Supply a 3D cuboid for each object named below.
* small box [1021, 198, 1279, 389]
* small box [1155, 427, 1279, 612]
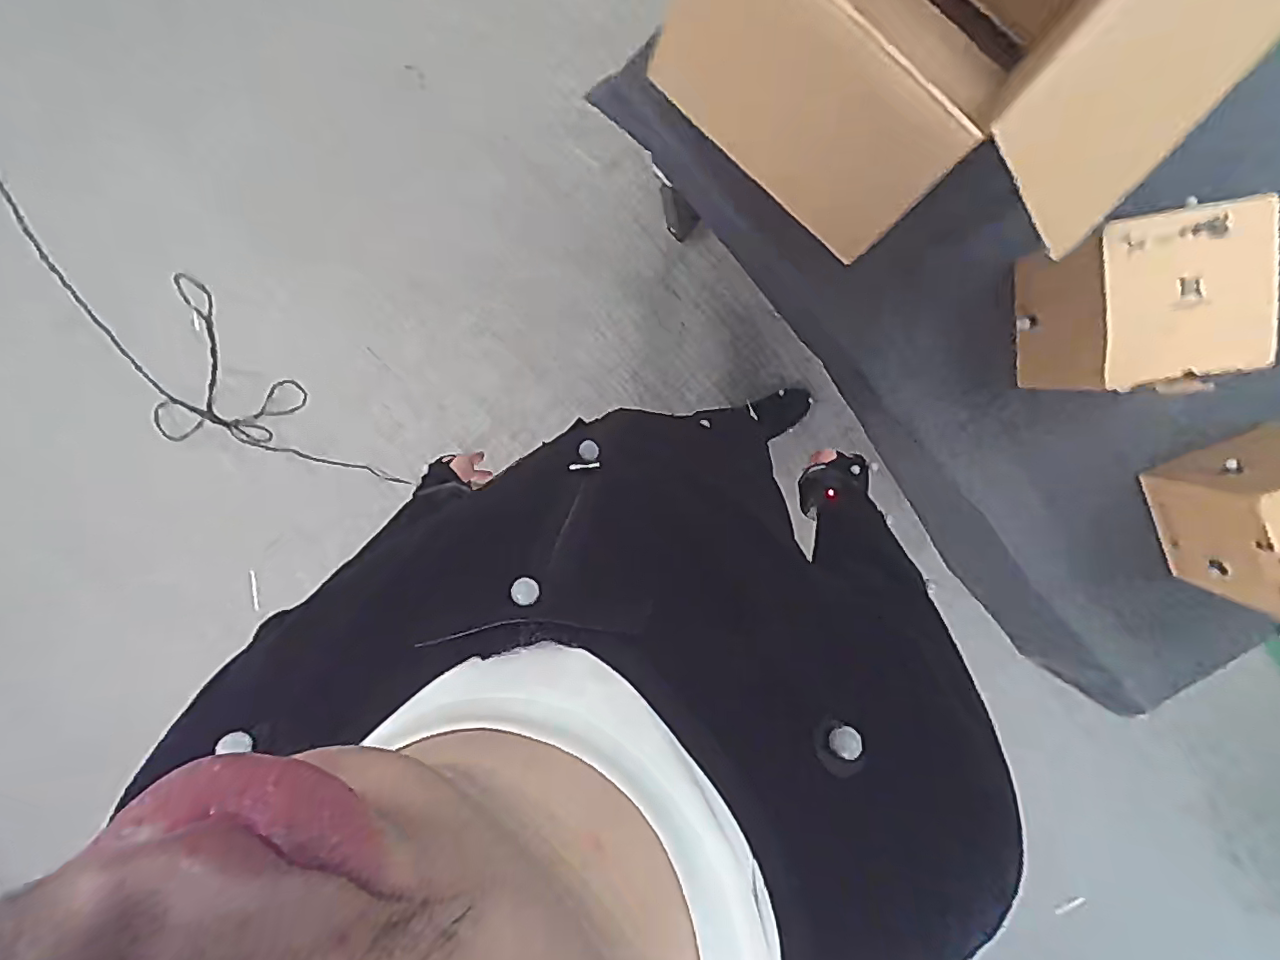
[{"bbox_3d":[0.591,-0.210,0.649,0.168,0.176,0.179,-6,100,8],"label":"small box"},{"bbox_3d":[0.802,0.045,0.671,0.179,0.176,0.168,-23,98,10],"label":"small box"}]
